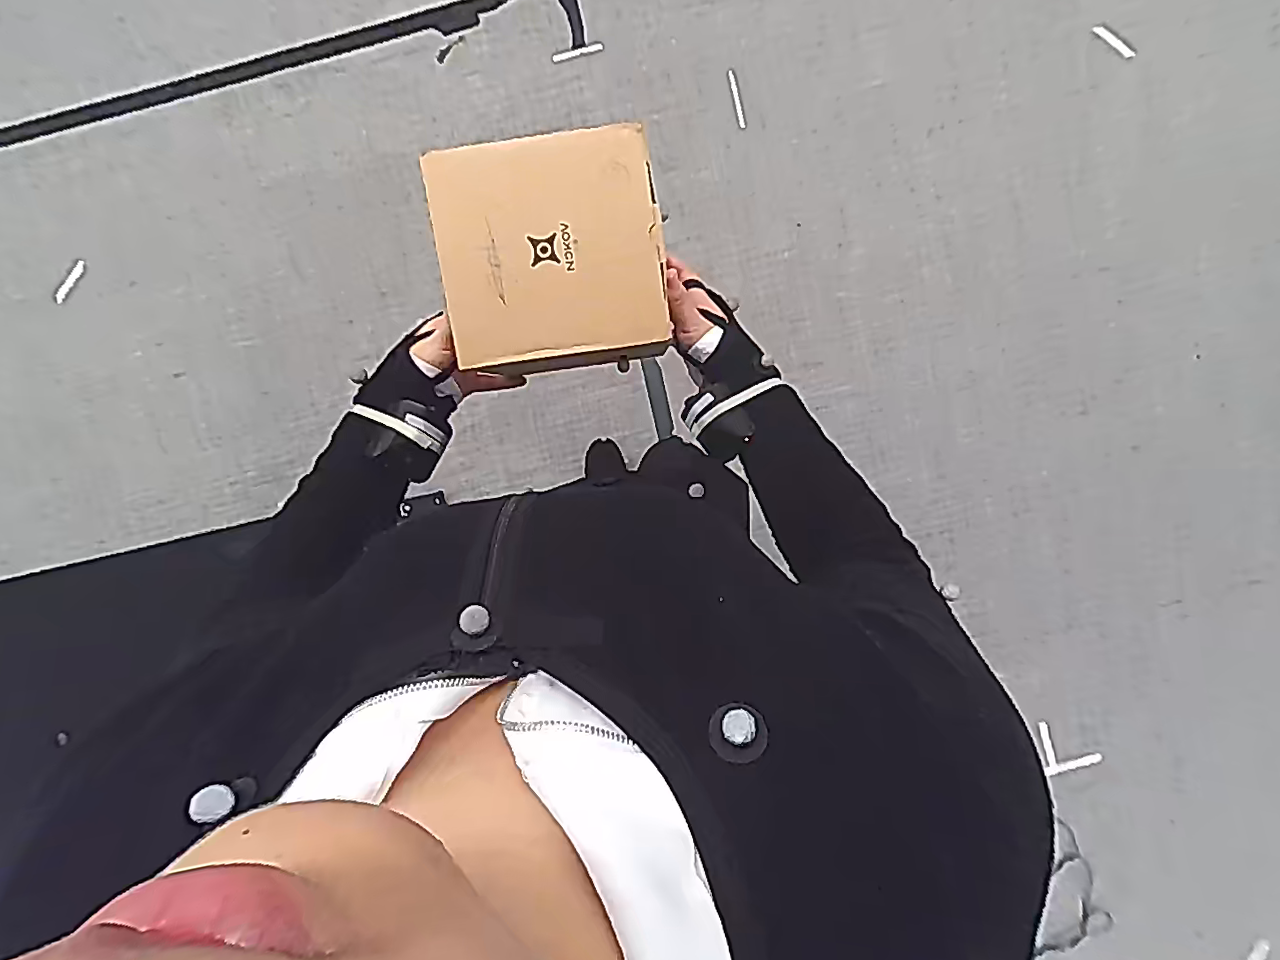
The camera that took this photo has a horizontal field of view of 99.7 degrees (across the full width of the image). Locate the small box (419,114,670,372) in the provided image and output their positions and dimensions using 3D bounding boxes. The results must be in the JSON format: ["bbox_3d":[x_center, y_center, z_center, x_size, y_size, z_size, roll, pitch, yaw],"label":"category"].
[{"bbox_3d":[-0.073,-0.197,0.499,0.179,0.176,0.168,-8,97,2],"label":"small box"}]
